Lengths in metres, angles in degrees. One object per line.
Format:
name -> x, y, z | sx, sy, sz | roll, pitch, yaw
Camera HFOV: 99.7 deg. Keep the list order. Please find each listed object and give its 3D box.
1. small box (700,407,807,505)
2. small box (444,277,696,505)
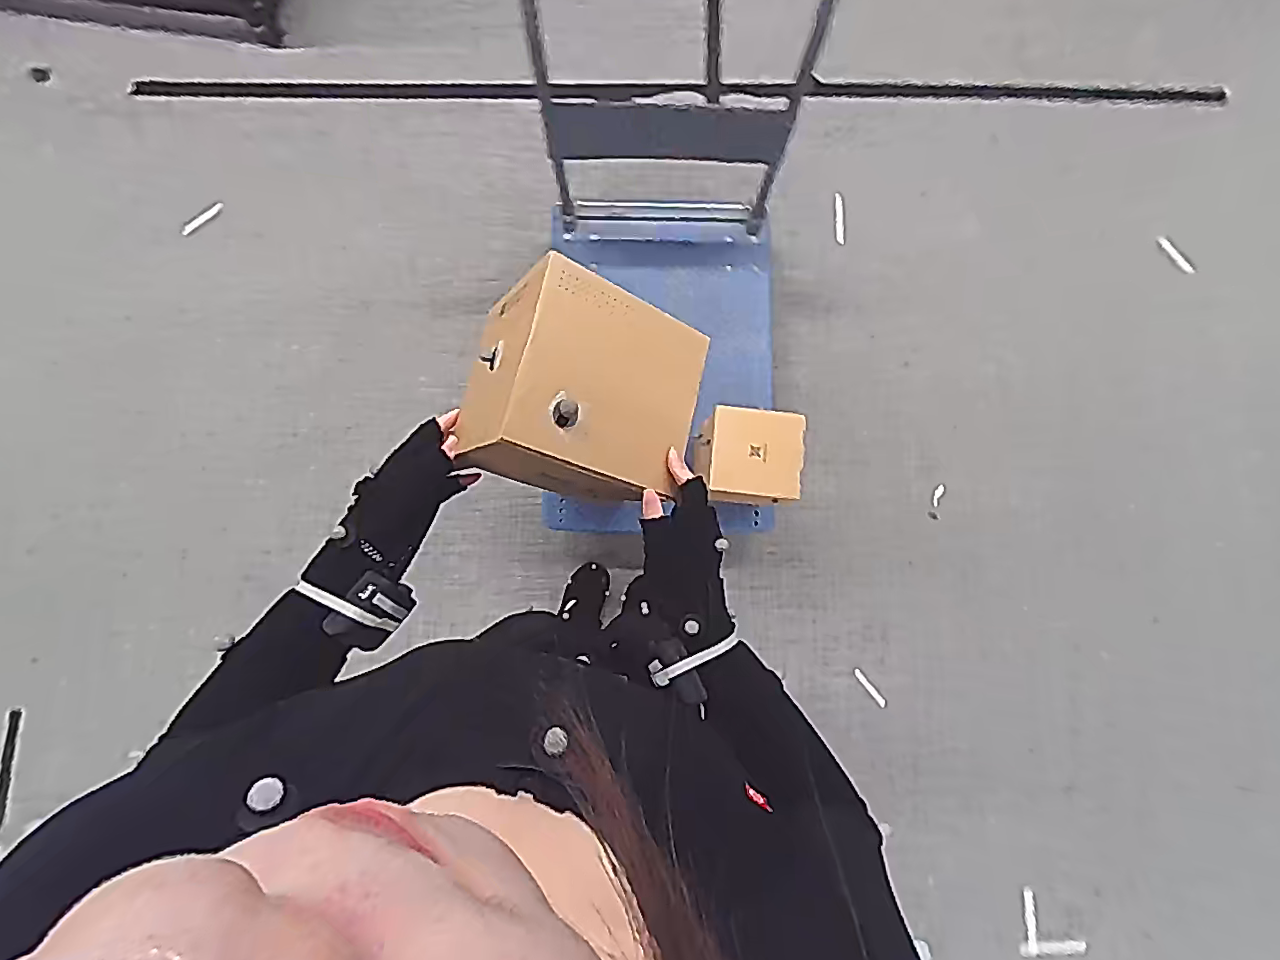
small box -> 0.224, -0.042, 1.108 | 0.179, 0.176, 0.168 | 7, 84, -1
small box -> -0.069, -0.077, 0.536 | 0.179, 0.168, 0.176 | 18, 79, -31
